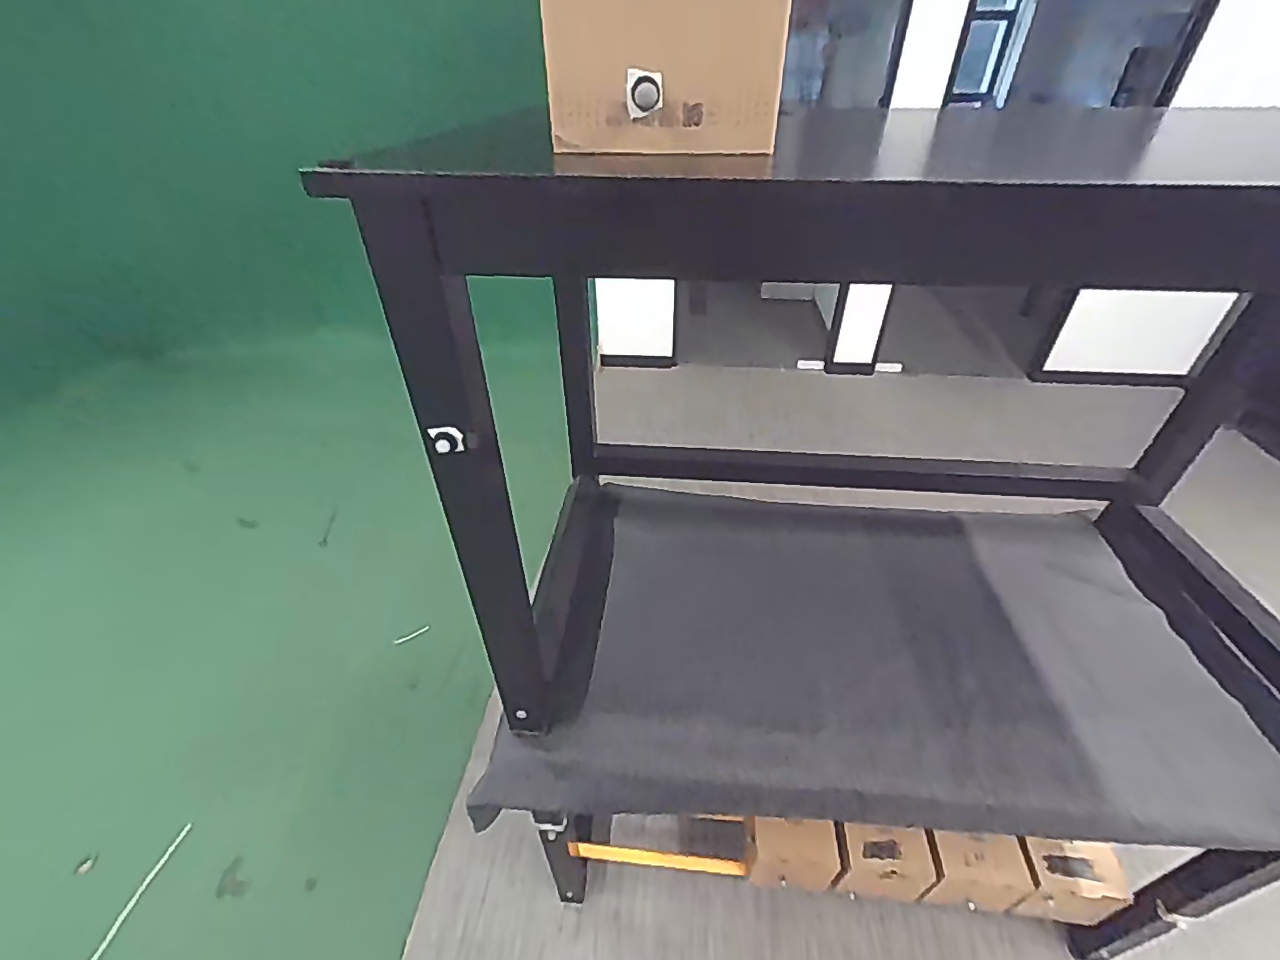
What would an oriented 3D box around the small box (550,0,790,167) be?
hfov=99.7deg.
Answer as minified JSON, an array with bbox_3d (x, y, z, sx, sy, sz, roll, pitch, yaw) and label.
[{"bbox_3d":[0.021,-0.359,0.433,0.168,0.176,0.179,0,37,2],"label":"small box"}]
